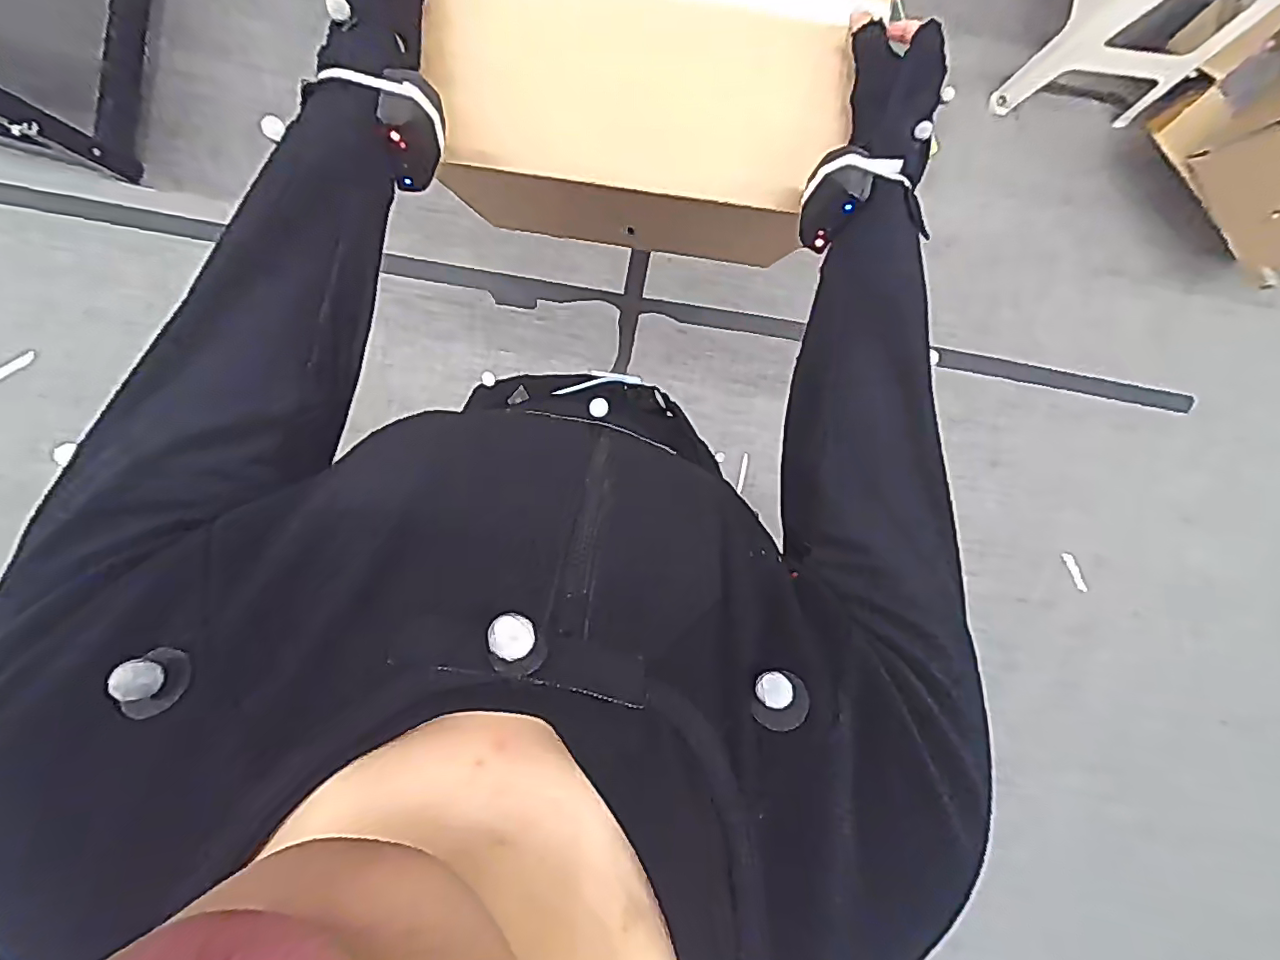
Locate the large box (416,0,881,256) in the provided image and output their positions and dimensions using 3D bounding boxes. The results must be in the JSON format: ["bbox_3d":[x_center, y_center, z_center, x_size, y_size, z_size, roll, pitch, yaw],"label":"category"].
[{"bbox_3d":[0.011,-0.455,0.609,0.408,0.320,0.320,7,103,-2],"label":"large box"}]
